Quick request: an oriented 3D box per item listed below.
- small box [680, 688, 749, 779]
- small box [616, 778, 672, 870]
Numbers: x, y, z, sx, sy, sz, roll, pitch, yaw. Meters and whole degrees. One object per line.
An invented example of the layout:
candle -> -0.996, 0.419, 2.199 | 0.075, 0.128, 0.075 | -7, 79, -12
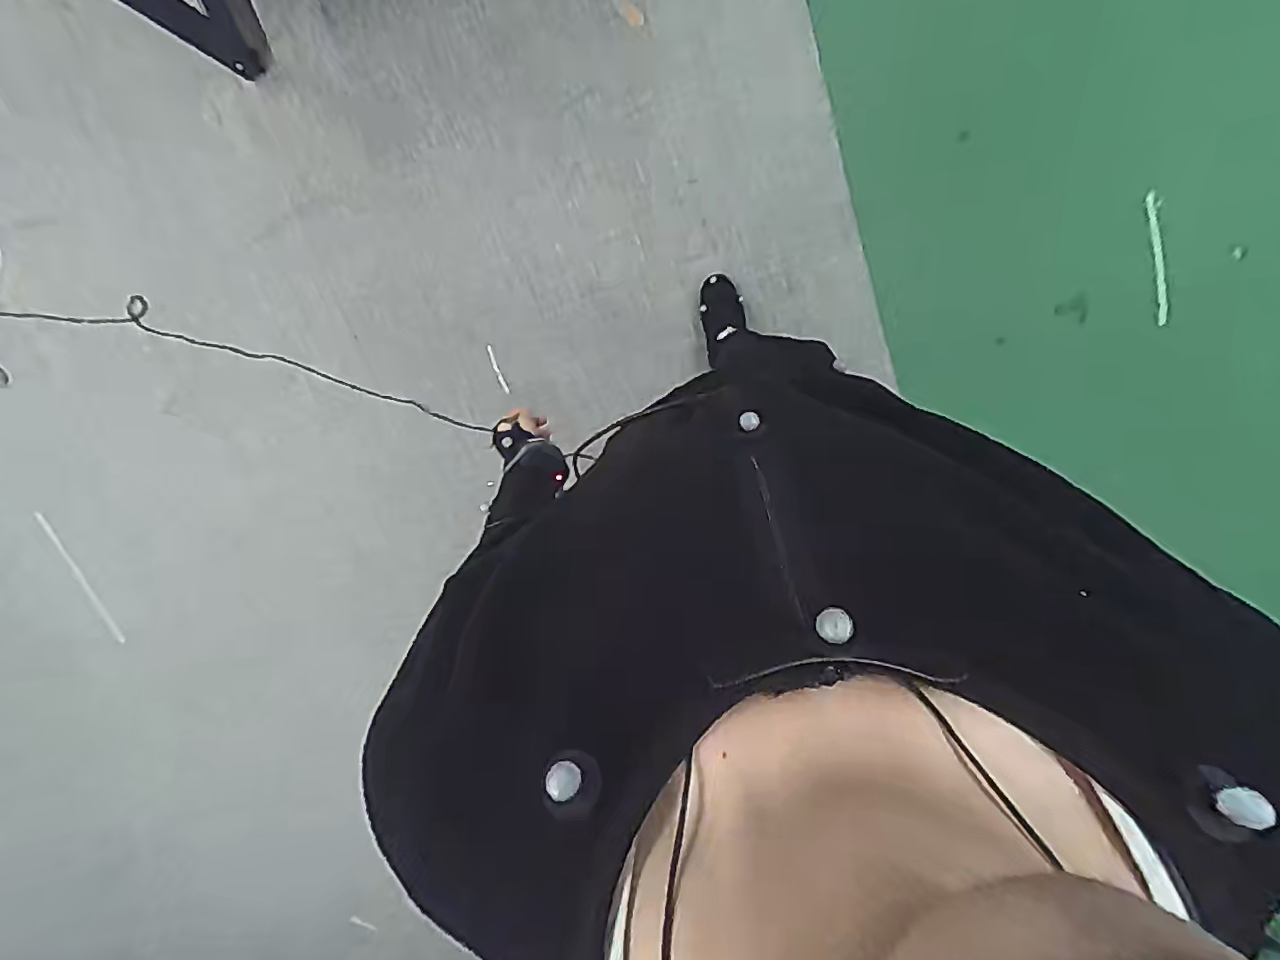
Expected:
small box -> 0.214, 0.737, 1.592 | 0.168, 0.176, 0.179 | -12, 104, 7
small box -> 0.016, 1.067, 1.684 | 0.168, 0.176, 0.179 | 0, 105, 3
